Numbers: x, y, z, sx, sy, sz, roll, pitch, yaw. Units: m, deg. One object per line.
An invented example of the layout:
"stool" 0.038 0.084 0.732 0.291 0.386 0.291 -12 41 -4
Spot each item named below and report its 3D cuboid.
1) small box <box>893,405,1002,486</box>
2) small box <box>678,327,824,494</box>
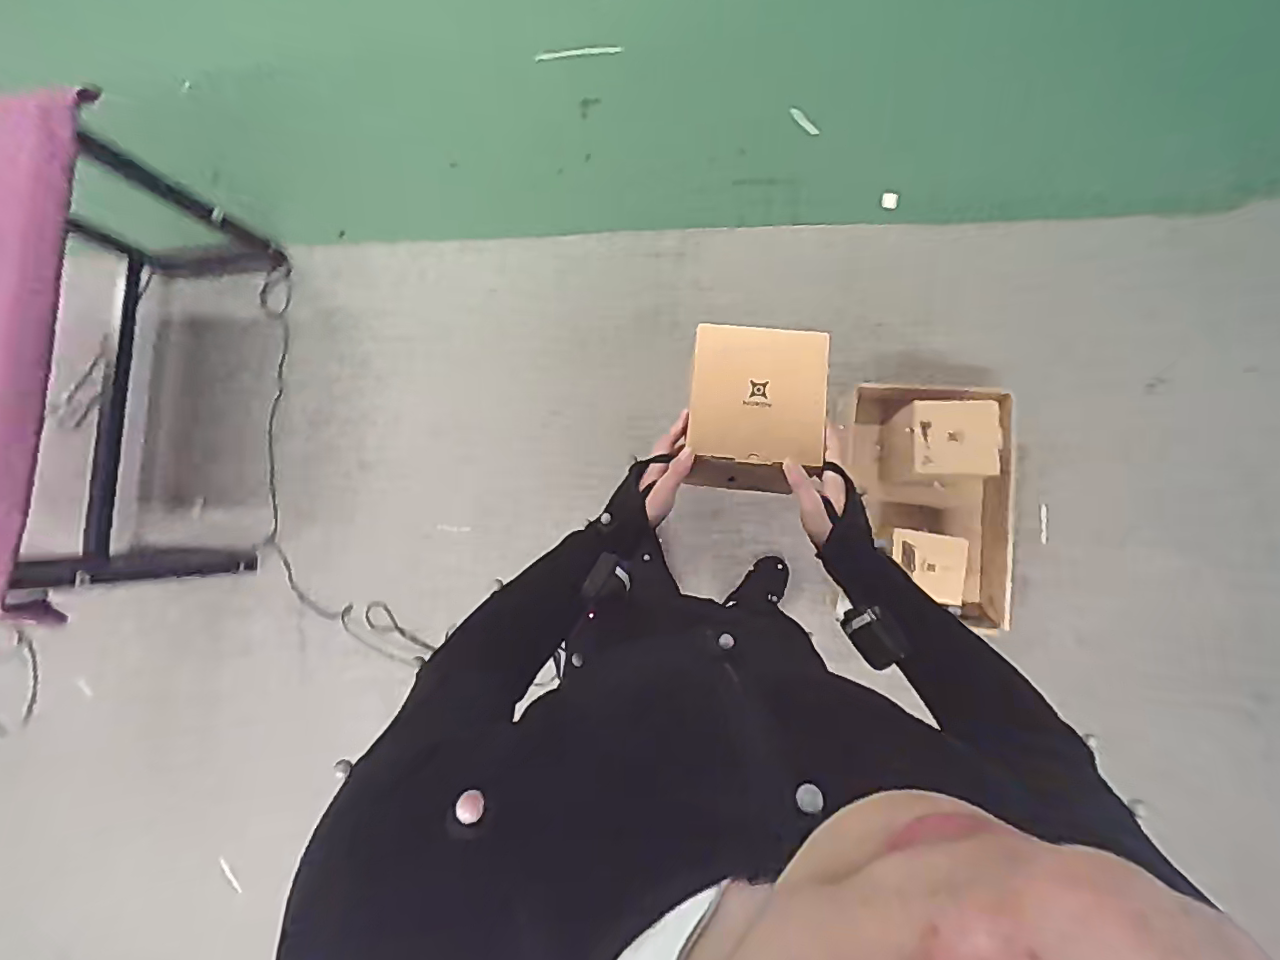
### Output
"small box" 0.716 -0.077 1.270 0.179 0.176 0.168 2 85 9
"small box" 0.142 -0.085 0.735 0.168 0.176 0.179 5 80 3
